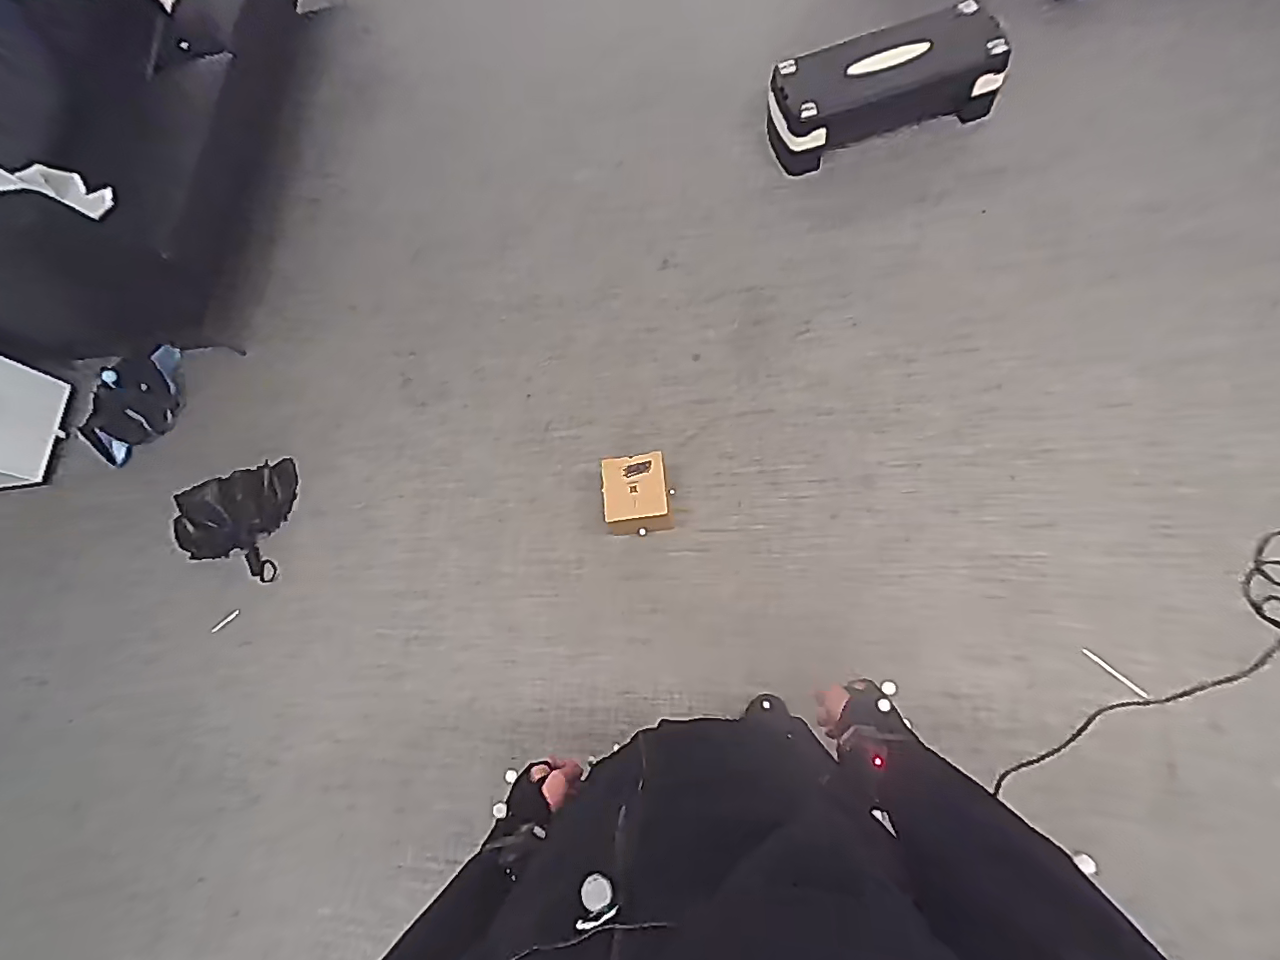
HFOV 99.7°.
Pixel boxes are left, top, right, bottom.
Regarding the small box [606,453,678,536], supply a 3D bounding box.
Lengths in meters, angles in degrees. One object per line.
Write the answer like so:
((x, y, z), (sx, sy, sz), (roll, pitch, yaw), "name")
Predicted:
((0.007, 0.045, 1.482), (0.168, 0.176, 0.179), (-8, 71, 9), "small box")
